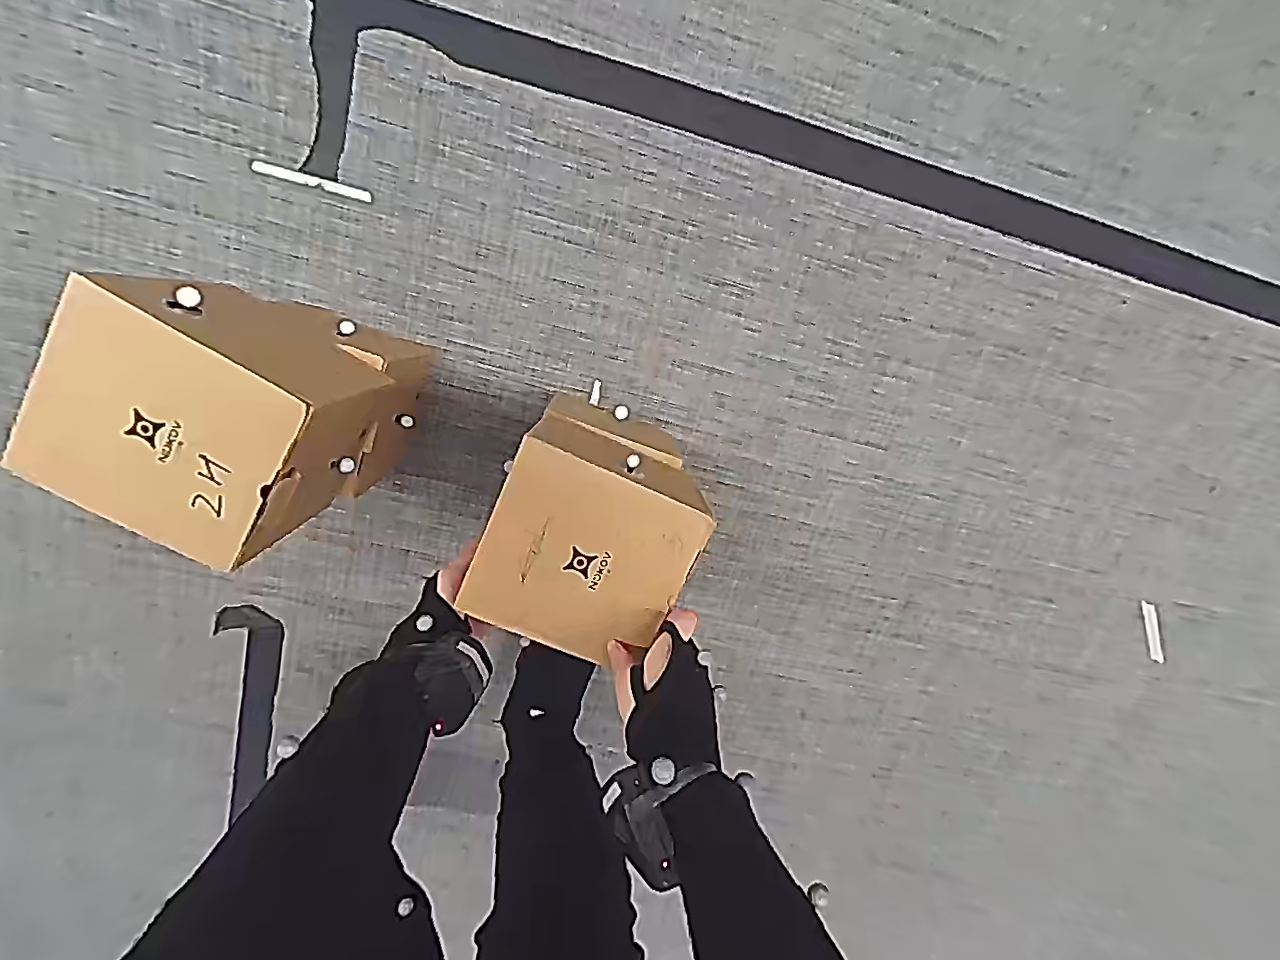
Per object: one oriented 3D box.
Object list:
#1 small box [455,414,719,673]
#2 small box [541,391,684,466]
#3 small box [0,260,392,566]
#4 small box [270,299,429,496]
[{"bbox_3d":[-0.048,0.047,0.528,0.179,0.176,0.168,24,103,-8],"label":"small box"},{"bbox_3d":[-0.060,0.002,0.687,0.168,0.176,0.179,20,103,-10],"label":"small box"},{"bbox_3d":[-0.358,-0.061,0.473,0.179,0.176,0.168,32,103,-12],"label":"small box"},{"bbox_3d":[-0.369,-0.106,0.631,0.179,0.176,0.168,19,104,-10],"label":"small box"}]
